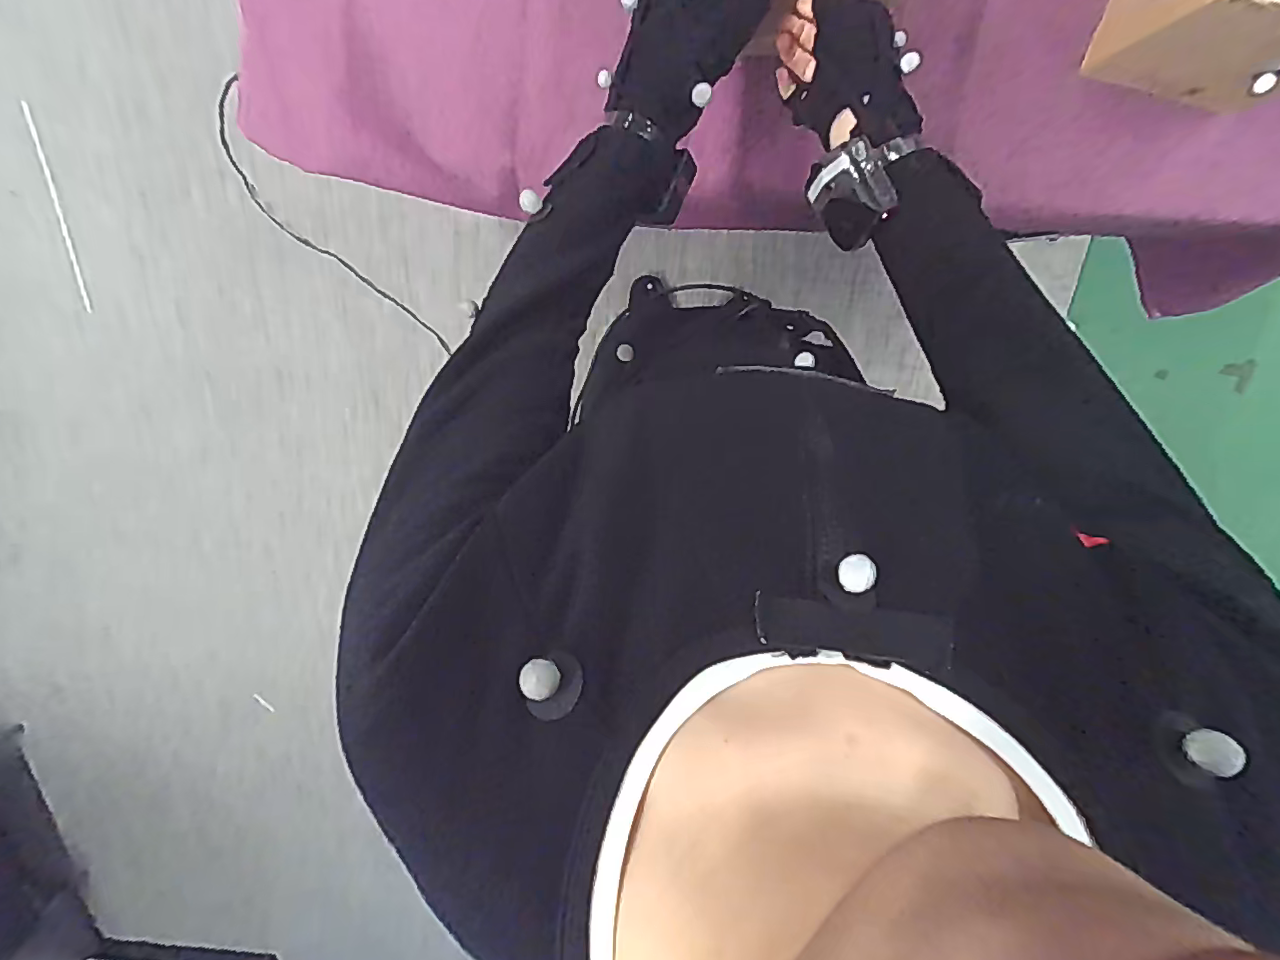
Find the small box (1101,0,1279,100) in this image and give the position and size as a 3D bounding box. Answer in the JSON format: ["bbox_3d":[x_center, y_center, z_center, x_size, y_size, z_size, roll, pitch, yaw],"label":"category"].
[{"bbox_3d":[0.547,-0.453,0.449,0.168,0.176,0.179,14,110,-2],"label":"small box"}]
